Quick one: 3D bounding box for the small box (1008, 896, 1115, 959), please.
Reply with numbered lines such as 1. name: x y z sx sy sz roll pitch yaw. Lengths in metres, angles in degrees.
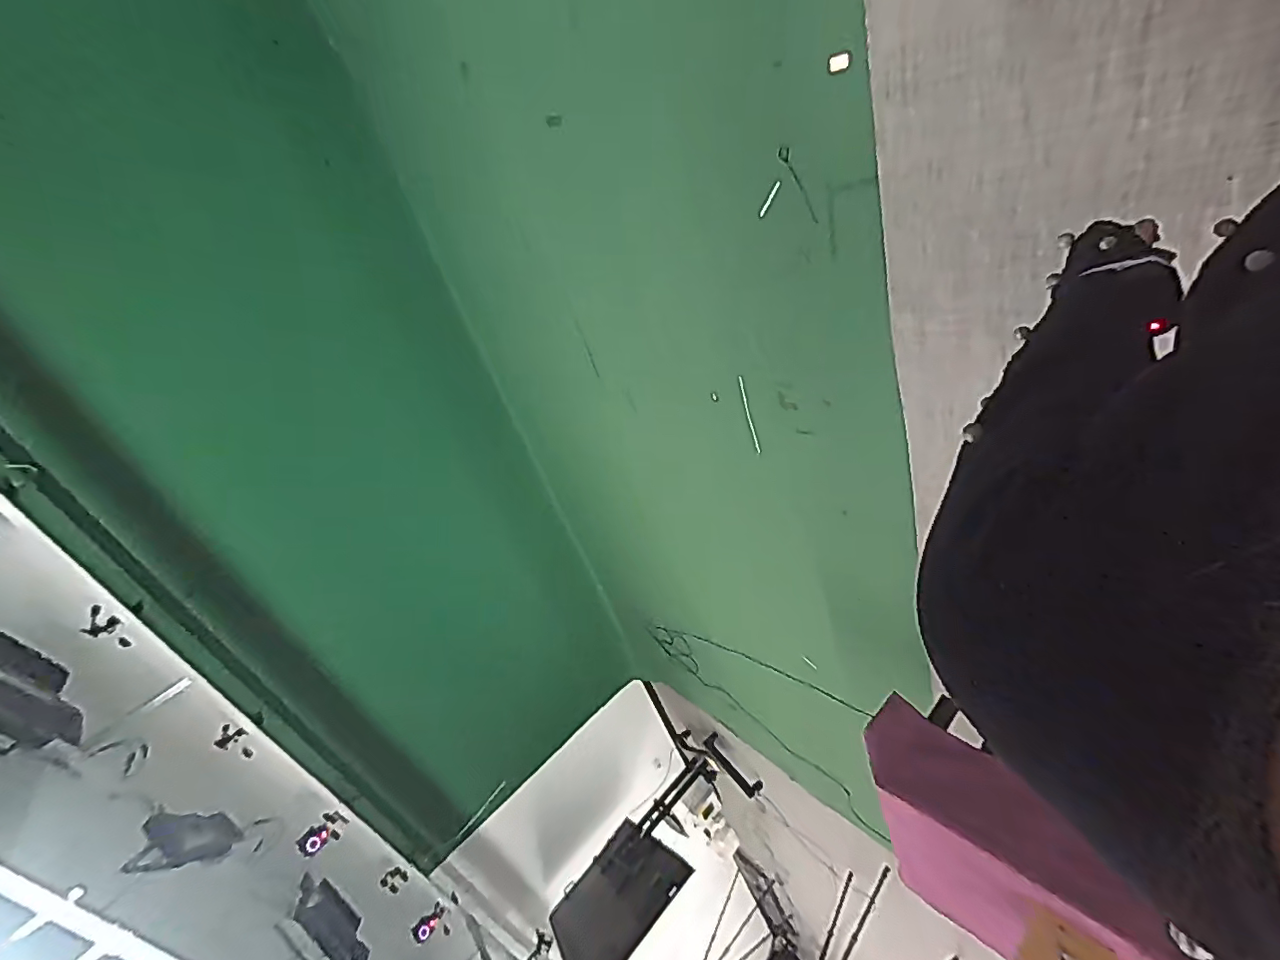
1. small box: 1.015 1.167 1.304 0.168 0.176 0.179 14 134 51
